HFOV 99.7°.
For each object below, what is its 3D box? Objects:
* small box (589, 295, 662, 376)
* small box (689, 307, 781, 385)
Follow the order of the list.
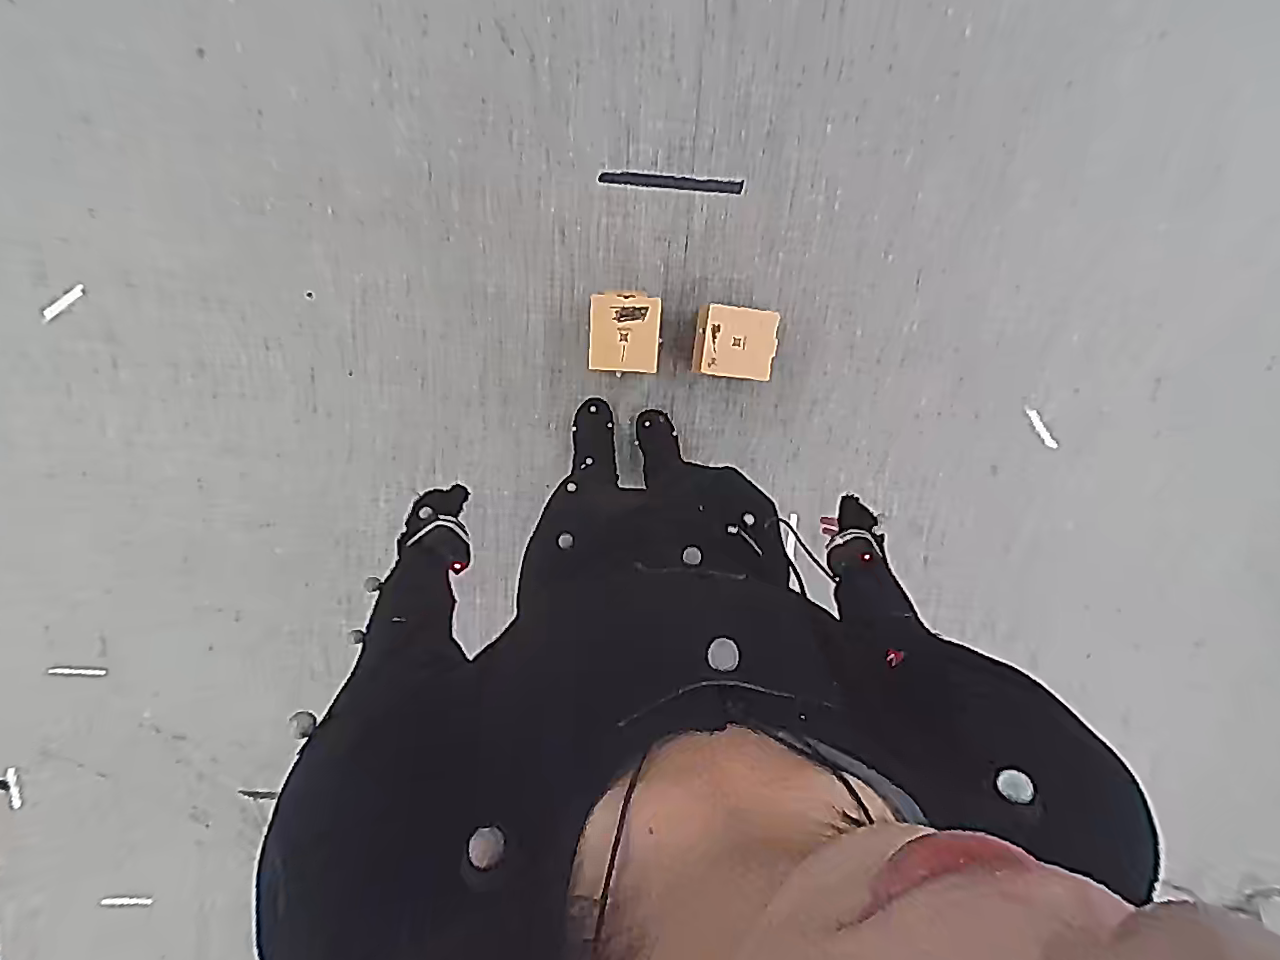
[{"bbox_3d":[-0.040,-0.356,1.352,0.168,0.176,0.179,3,103,-4],"label":"small box"},{"bbox_3d":[0.234,-0.339,1.376,0.179,0.176,0.168,6,102,-6],"label":"small box"}]
